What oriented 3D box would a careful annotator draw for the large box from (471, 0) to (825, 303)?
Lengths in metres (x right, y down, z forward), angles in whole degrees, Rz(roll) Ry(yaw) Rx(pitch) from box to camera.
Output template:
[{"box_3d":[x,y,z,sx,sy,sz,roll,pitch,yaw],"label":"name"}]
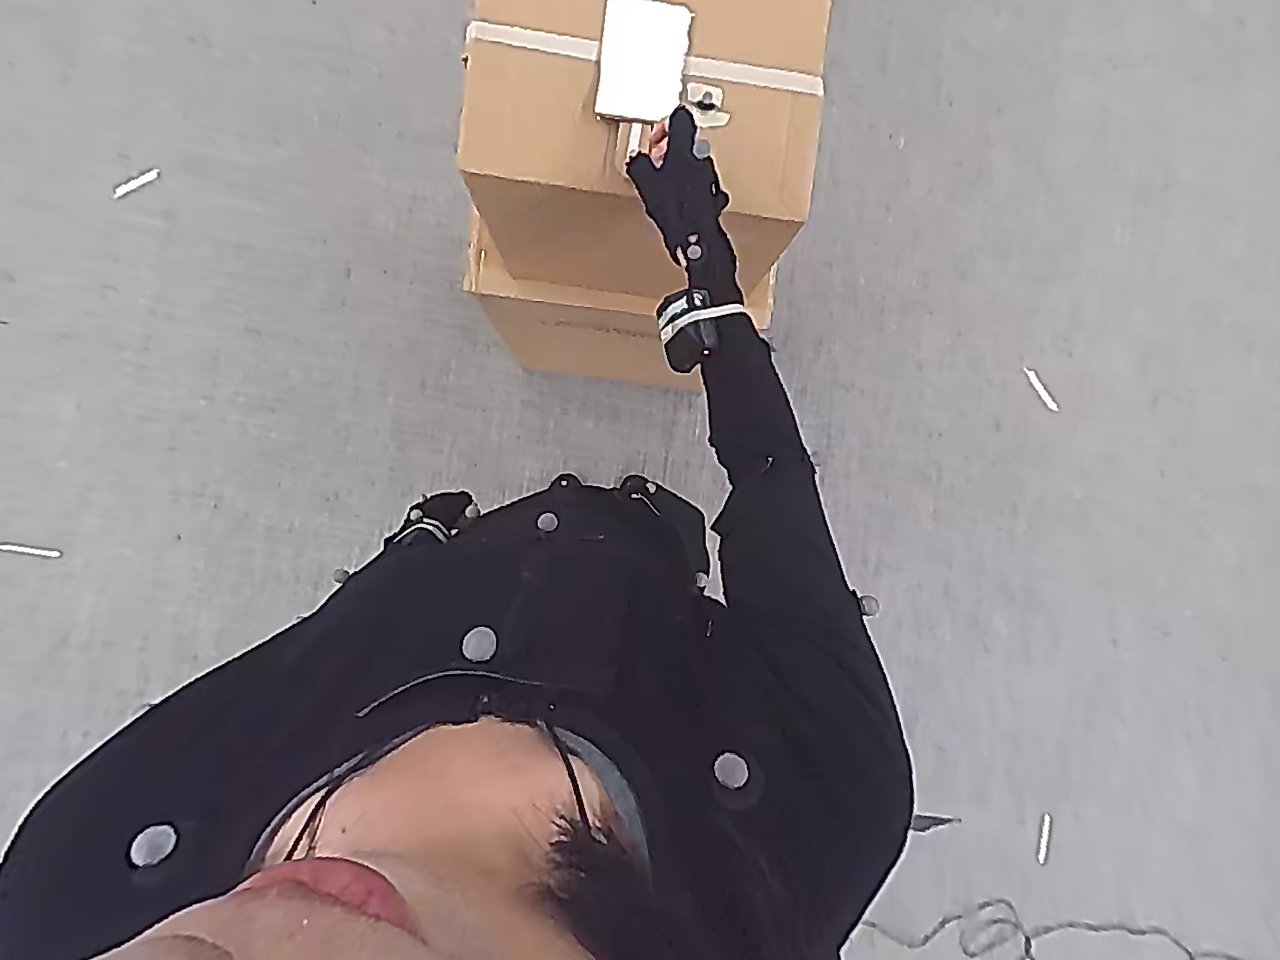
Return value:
[{"box_3d":[0.002,-0.479,0.785,0.408,0.320,0.320,7,89,-5],"label":"large box"}]
